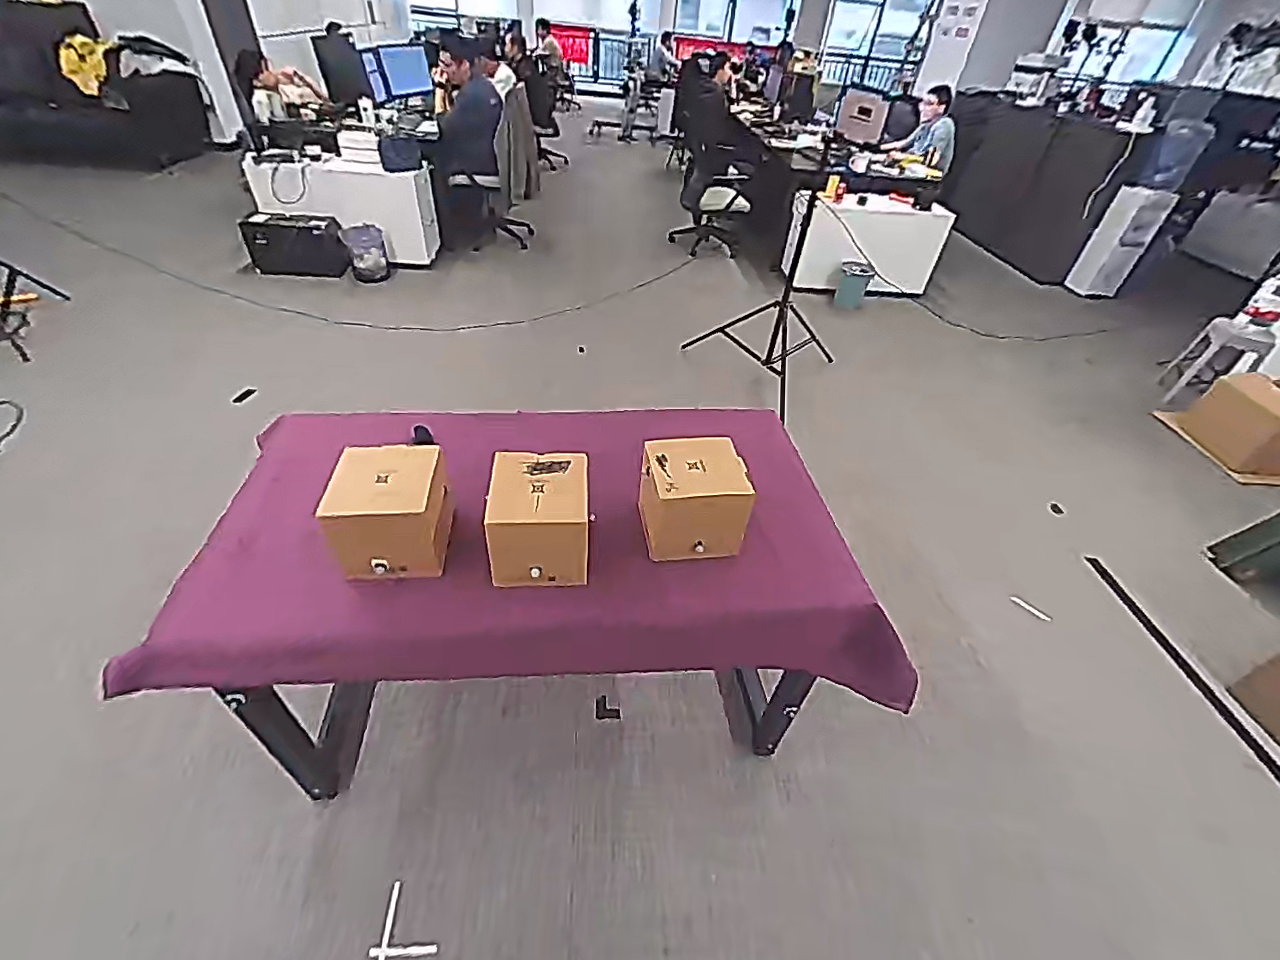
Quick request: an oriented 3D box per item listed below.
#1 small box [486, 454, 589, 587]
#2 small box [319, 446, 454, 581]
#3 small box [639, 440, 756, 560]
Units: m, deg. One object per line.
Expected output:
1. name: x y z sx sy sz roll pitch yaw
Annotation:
1. small box: -0.176 0.072 0.975 0.168 0.176 0.179 0 42 -6
2. small box: -0.434 0.058 0.962 0.168 0.176 0.179 -2 42 -8
3. small box: 0.101 0.038 1.048 0.179 0.176 0.168 -2 41 -10
